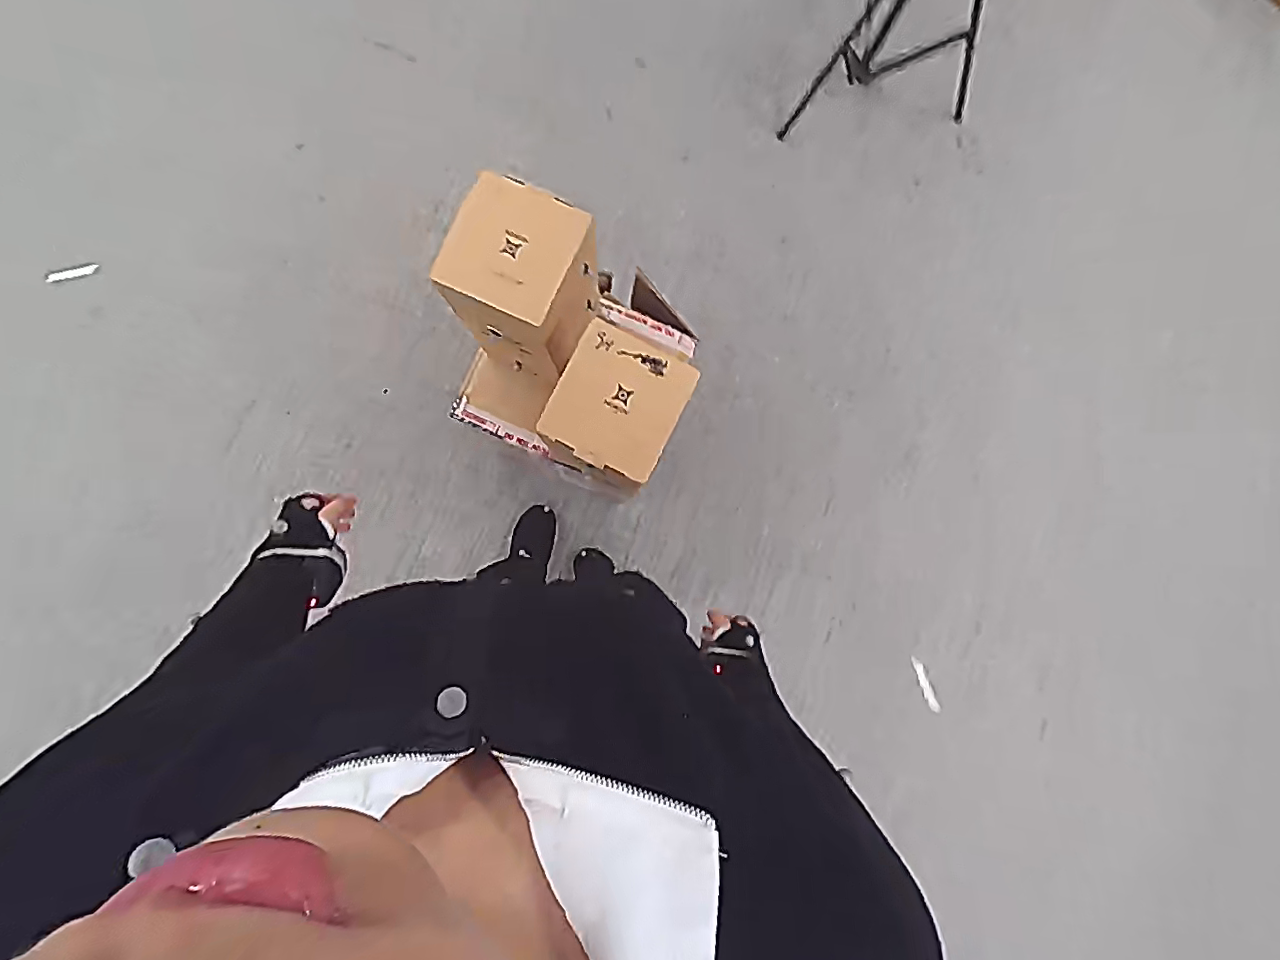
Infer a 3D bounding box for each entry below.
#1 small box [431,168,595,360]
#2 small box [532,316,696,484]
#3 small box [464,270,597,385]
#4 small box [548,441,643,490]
[{"bbox_3d":[-0.175,-0.307,0.806,0.168,0.176,0.179,24,85,0],"label":"small box"},{"bbox_3d":[-0.037,-0.103,0.801,0.168,0.176,0.179,28,85,-2],"label":"small box"},{"bbox_3d":[-0.185,-0.296,0.968,0.168,0.176,0.179,24,85,-1],"label":"small box"},{"bbox_3d":[-0.051,-0.093,0.963,0.168,0.176,0.179,24,85,-3],"label":"small box"}]
